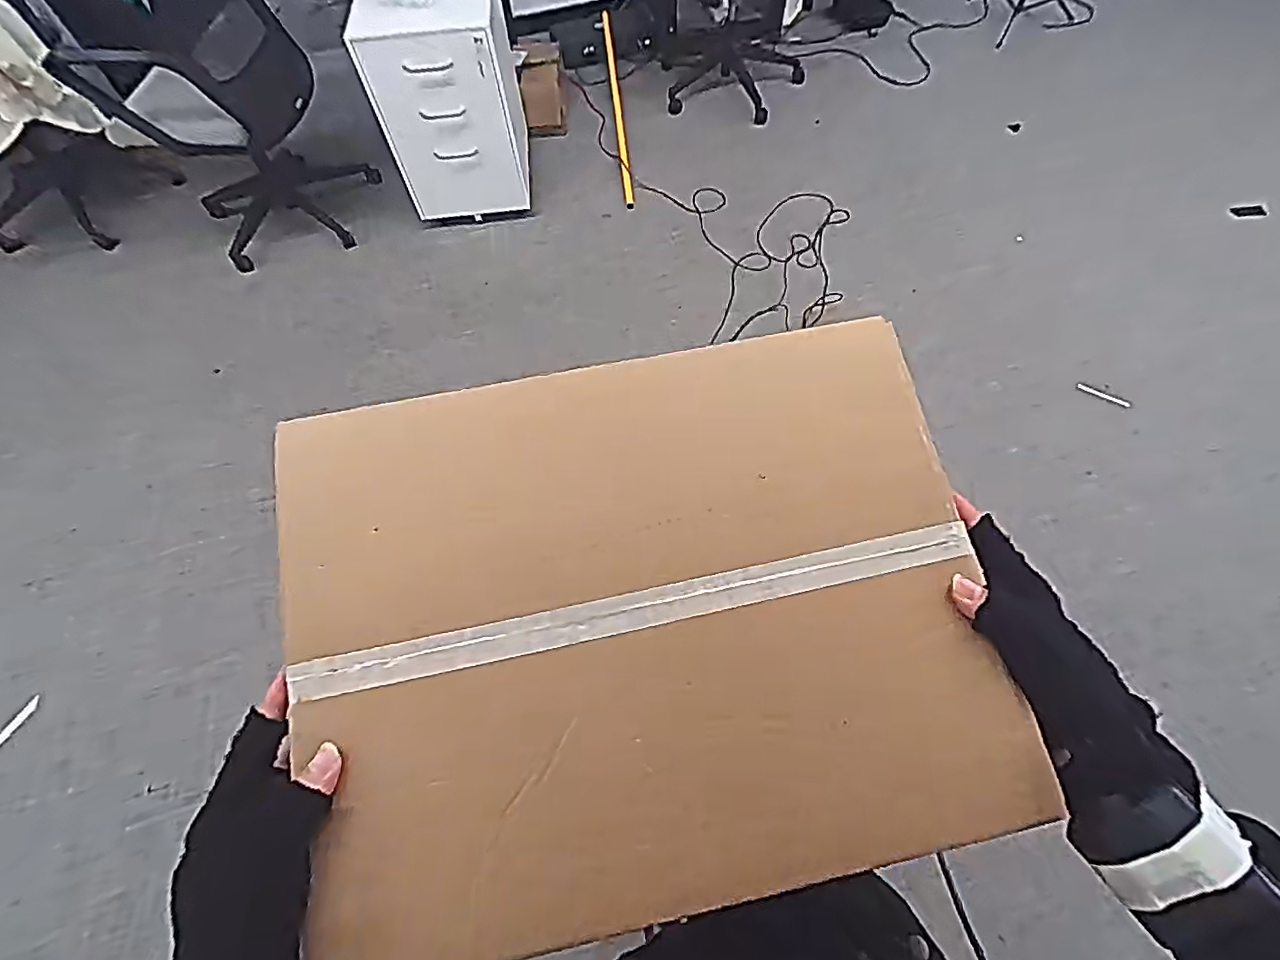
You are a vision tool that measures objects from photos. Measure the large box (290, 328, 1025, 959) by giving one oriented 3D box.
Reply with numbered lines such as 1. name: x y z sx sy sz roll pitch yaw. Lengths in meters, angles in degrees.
1. large box: -0.004 0.112 0.472 0.408 0.320 0.320 -11 76 -4
